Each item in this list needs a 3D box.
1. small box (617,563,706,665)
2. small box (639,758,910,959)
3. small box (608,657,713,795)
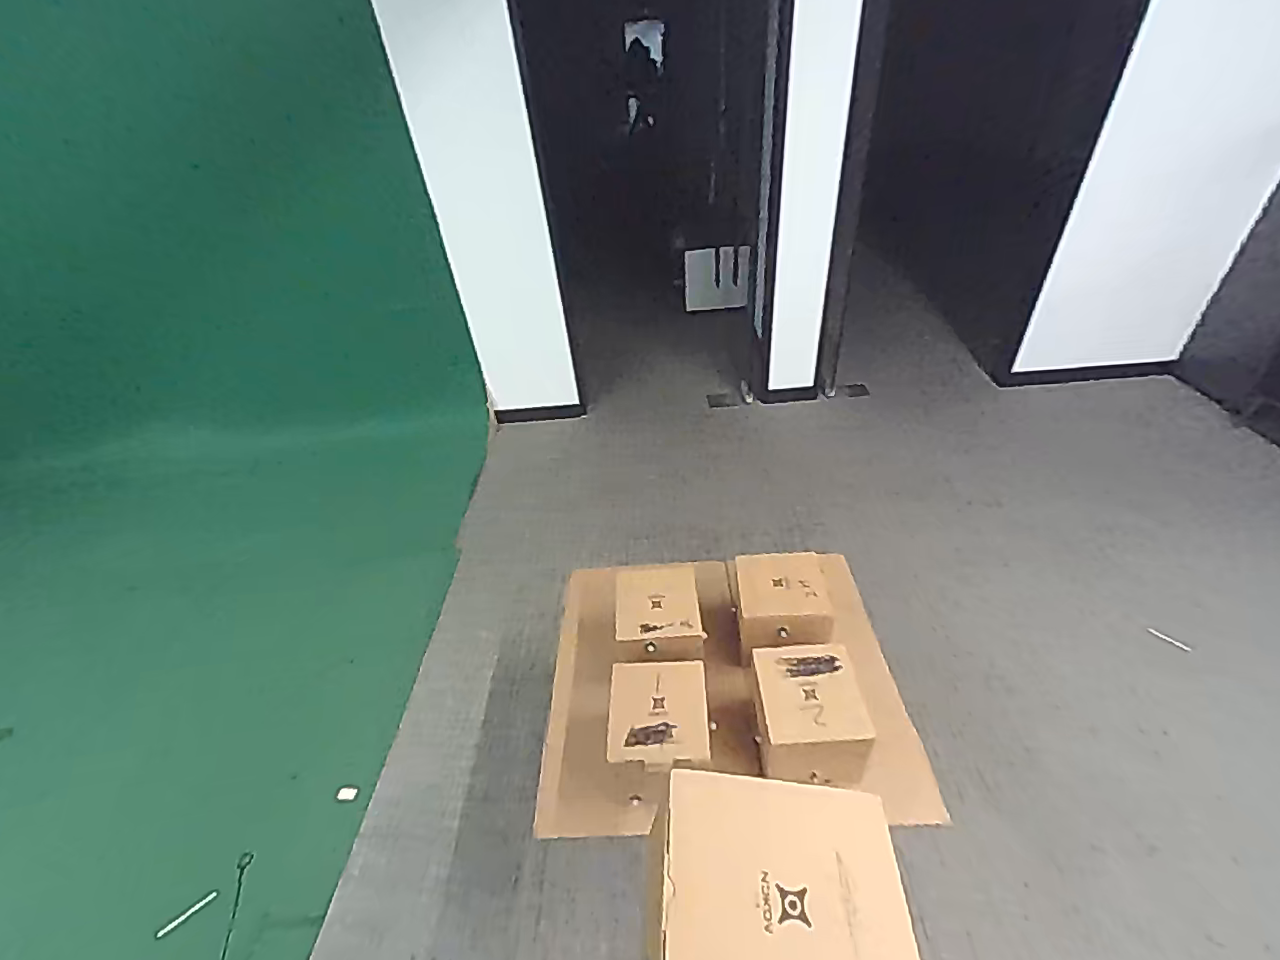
[{"bbox_3d":[0.046,0.299,1.129,0.168,0.176,0.179,-6,37,4],"label":"small box"},{"bbox_3d":[0.091,0.352,0.435,0.179,0.176,0.168,7,40,1],"label":"small box"},{"bbox_3d":[0.042,0.439,0.957,0.168,0.176,0.179,-4,38,5],"label":"small box"}]
